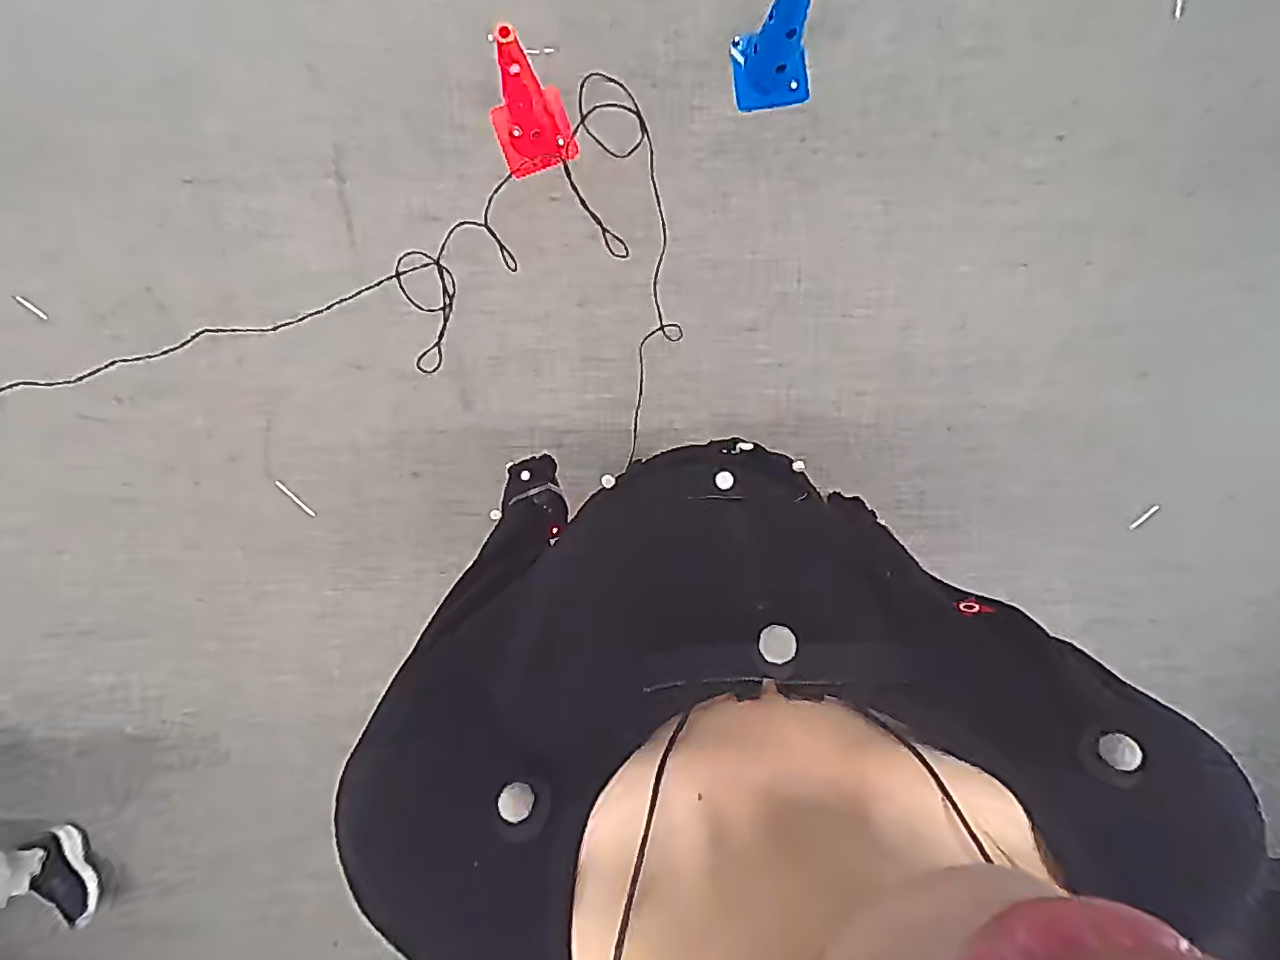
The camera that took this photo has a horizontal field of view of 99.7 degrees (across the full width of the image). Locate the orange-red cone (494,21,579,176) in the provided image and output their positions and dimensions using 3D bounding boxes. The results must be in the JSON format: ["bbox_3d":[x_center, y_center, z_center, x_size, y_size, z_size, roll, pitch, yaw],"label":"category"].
[{"bbox_3d":[-0.280,-0.937,1.293,0.198,0.360,0.199,-19,91,0],"label":"orange-red cone"}]
